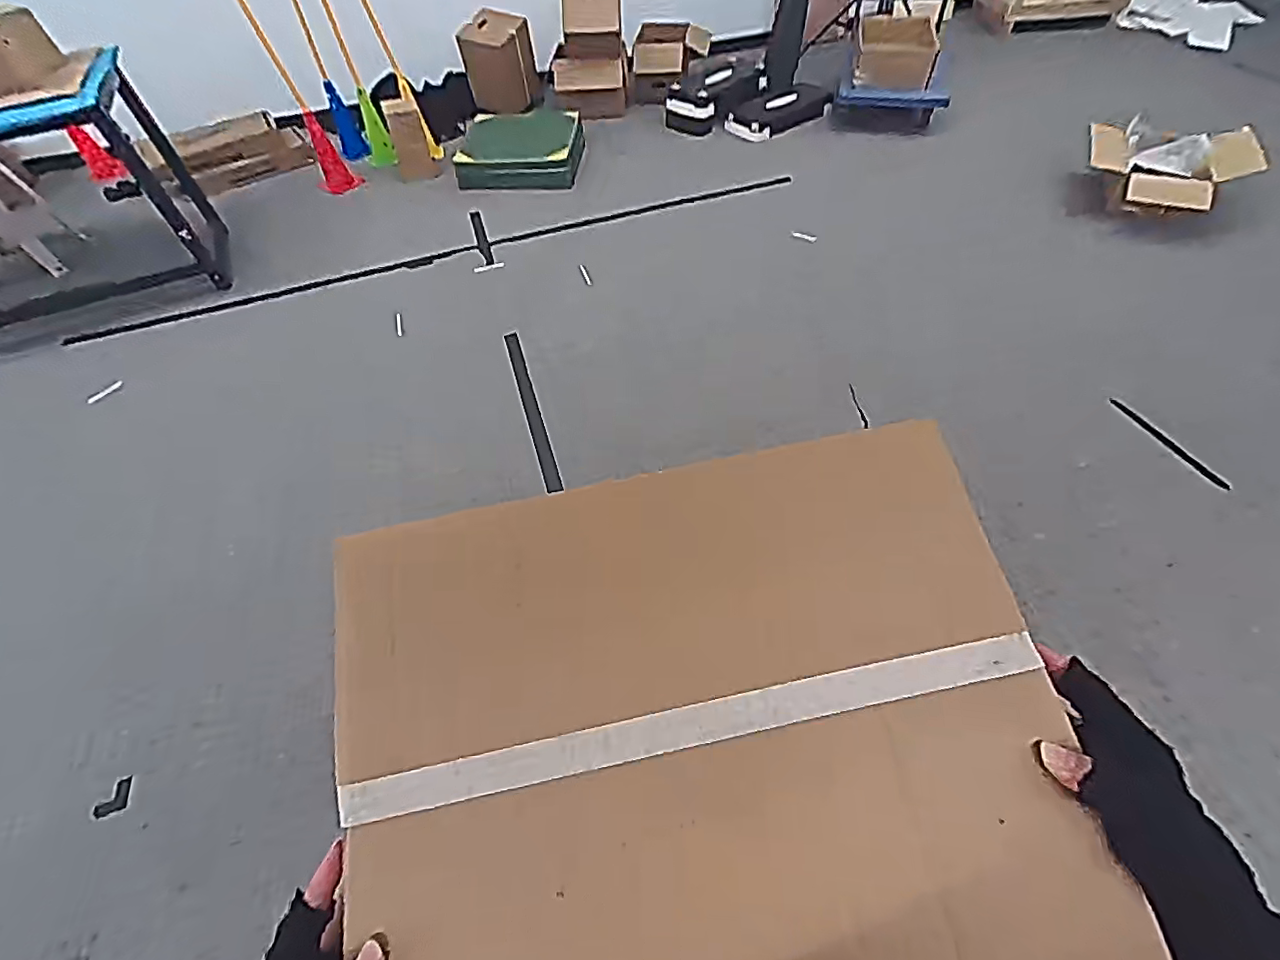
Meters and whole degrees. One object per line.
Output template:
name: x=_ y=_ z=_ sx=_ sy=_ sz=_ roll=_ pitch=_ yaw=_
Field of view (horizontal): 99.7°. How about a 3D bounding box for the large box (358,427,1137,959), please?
large box: x=0.038 y=0.196 z=0.461 sx=0.408 sy=0.320 sz=0.320 roll=-12 pitch=70 yaw=-2
